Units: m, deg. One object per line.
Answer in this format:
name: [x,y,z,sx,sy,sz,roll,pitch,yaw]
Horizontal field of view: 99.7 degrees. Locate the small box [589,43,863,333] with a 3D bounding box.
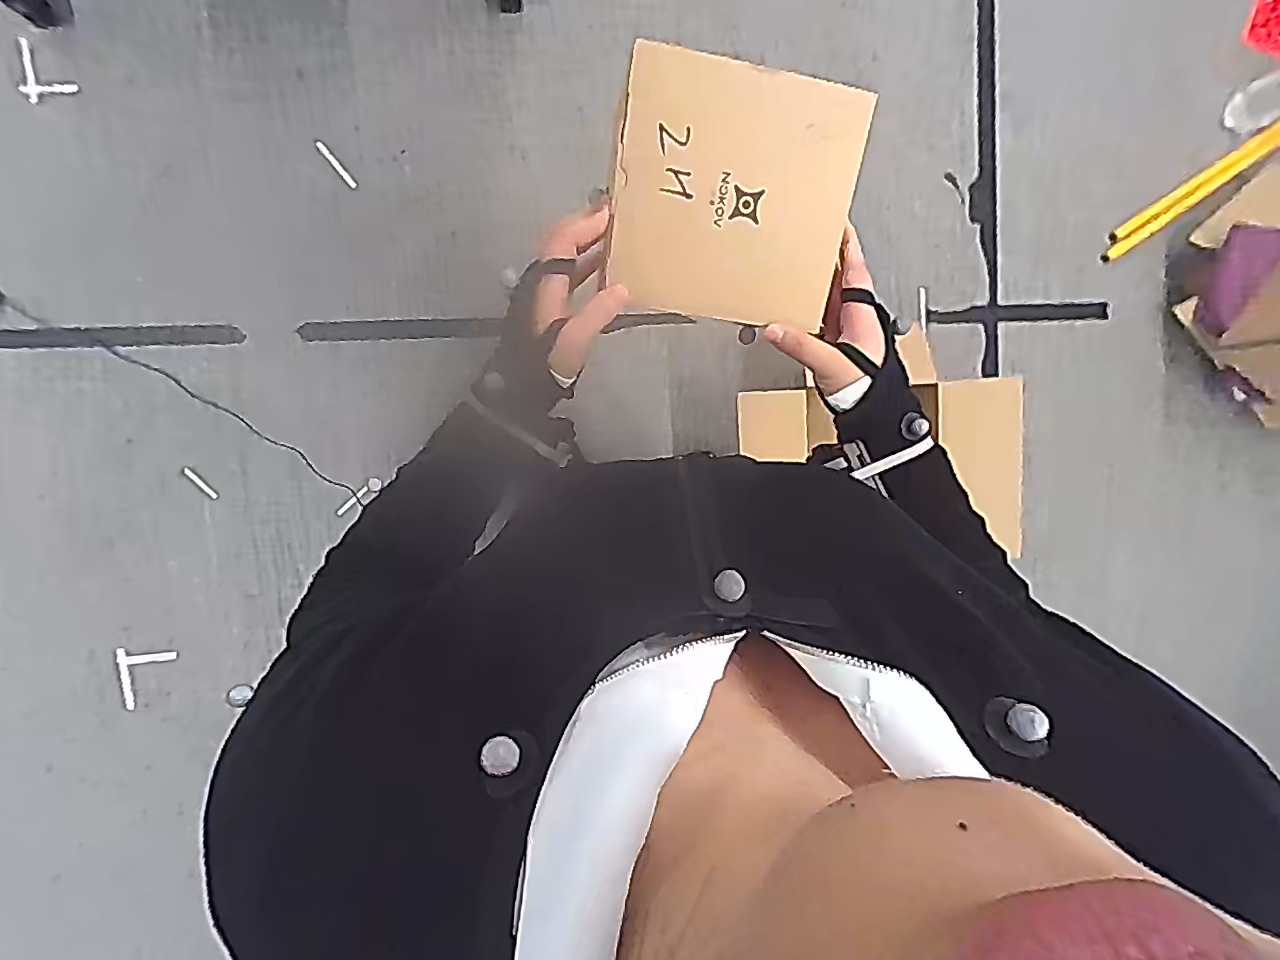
small box: [0.053,-0.230,0.466,0.179,0.176,0.168,6,109,-8]
